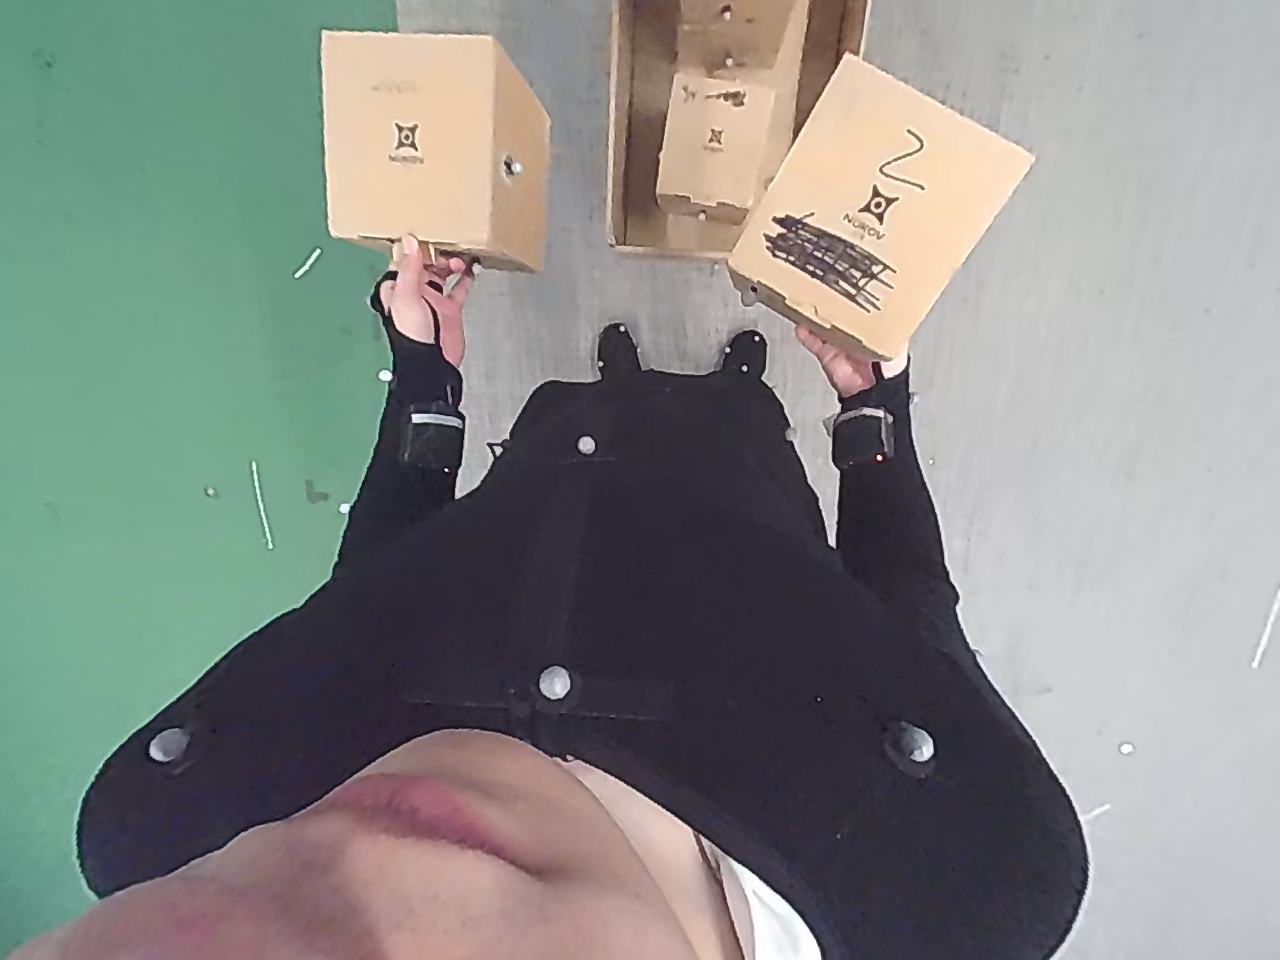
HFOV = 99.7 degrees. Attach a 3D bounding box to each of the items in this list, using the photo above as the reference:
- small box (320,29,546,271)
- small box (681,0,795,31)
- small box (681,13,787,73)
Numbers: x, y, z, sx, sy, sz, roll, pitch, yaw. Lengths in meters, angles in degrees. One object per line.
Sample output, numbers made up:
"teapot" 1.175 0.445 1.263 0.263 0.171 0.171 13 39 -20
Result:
"small box" -0.205 -0.329 0.574 0.168 0.176 0.179 8 103 6
"small box" 0.139 -0.749 0.726 0.168 0.176 0.179 4 109 4
"small box" 0.155 -0.801 0.878 0.168 0.176 0.179 4 109 5
